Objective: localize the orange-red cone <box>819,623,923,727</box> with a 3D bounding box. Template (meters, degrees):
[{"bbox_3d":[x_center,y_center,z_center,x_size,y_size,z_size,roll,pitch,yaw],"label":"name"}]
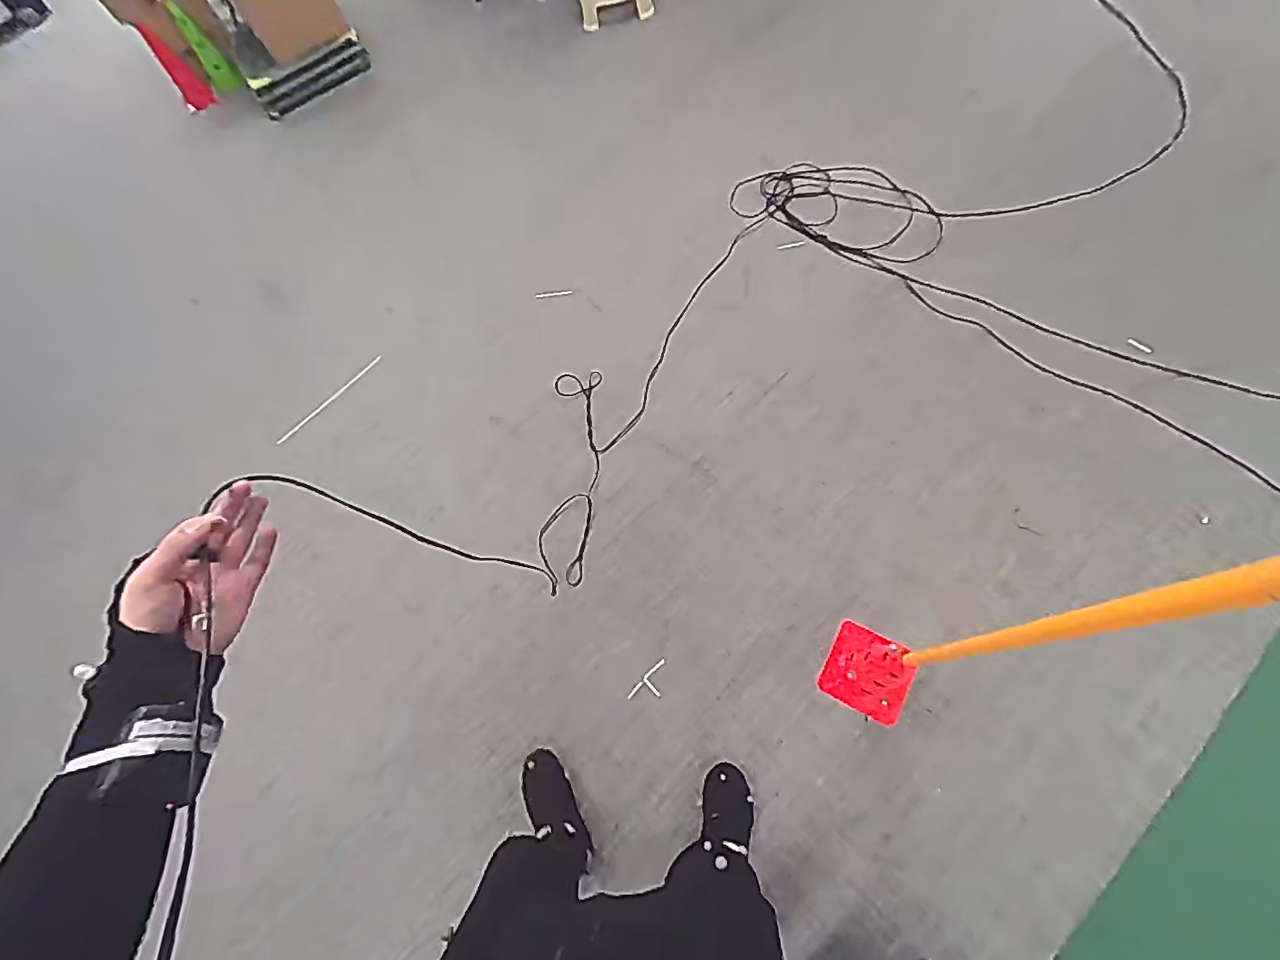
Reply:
[{"bbox_3d":[0.551,0.419,1.206,0.198,0.360,0.199,27,73,18],"label":"orange-red cone"}]
